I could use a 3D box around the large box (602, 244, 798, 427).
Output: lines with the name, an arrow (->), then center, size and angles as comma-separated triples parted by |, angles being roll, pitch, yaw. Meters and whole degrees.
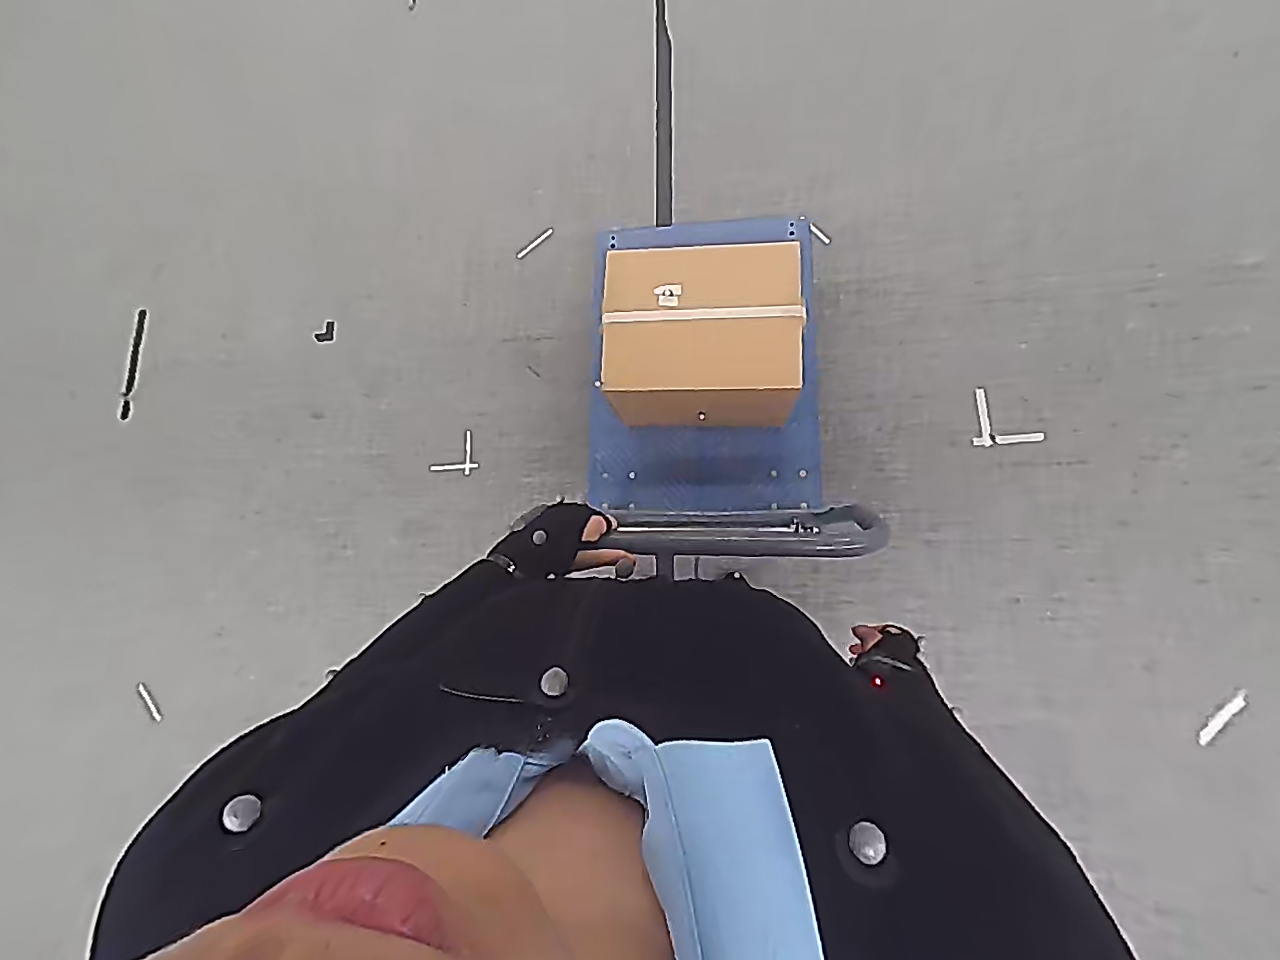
large box -> 0.144, -0.311, 1.262 | 0.408, 0.320, 0.320 | 0, 80, 10
